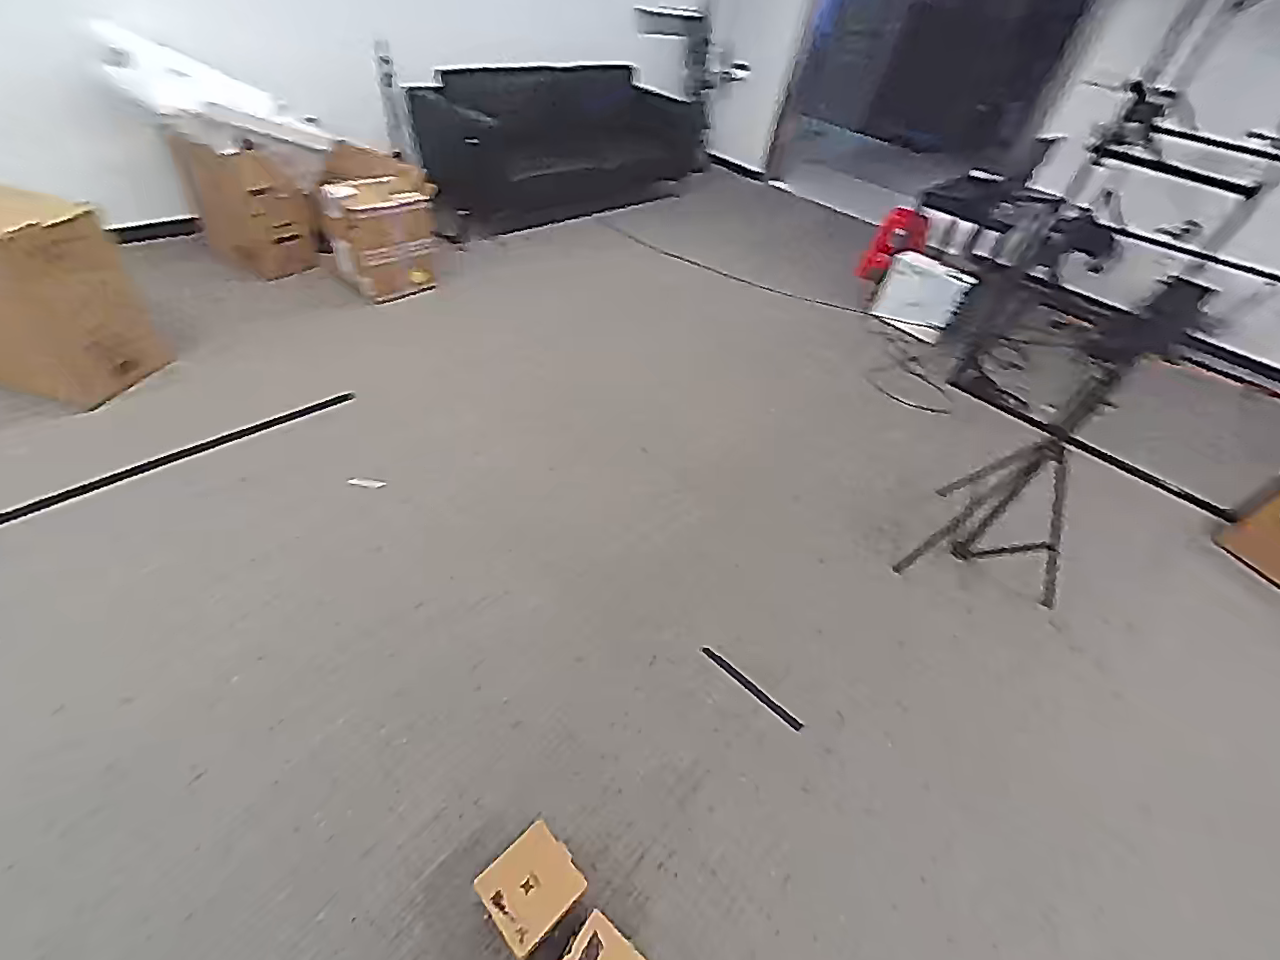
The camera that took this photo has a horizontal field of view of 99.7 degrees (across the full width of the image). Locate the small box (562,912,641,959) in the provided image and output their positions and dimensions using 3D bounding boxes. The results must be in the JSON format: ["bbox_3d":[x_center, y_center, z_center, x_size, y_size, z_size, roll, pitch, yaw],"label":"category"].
[{"bbox_3d":[-0.083,1.008,1.060,0.179,0.176,0.168,34,48,21],"label":"small box"}]

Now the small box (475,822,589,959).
[{"bbox_3d":[-0.232,0.887,1.156,0.179,0.176,0.168,-28,55,-35],"label":"small box"}]
